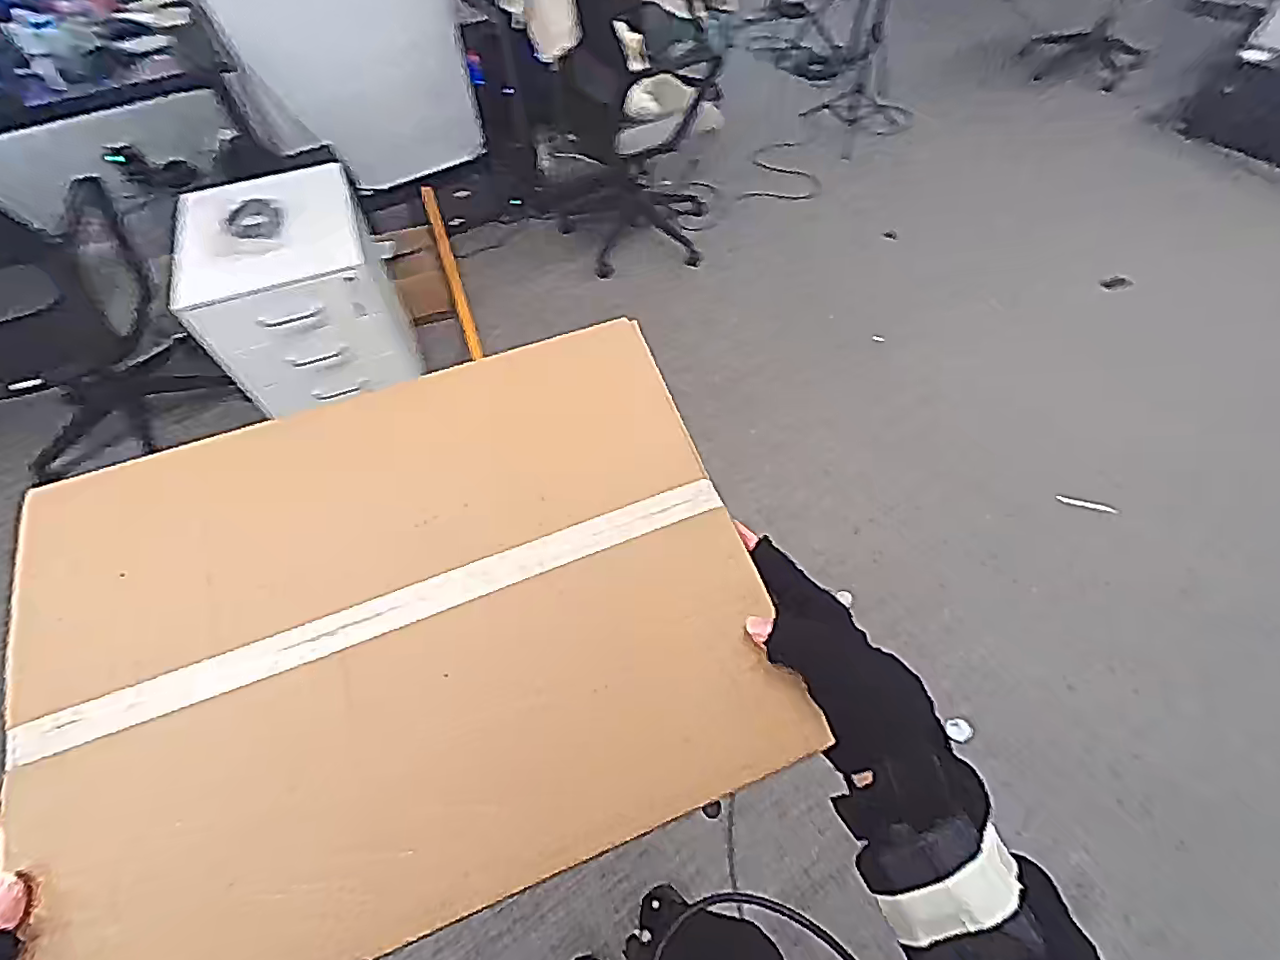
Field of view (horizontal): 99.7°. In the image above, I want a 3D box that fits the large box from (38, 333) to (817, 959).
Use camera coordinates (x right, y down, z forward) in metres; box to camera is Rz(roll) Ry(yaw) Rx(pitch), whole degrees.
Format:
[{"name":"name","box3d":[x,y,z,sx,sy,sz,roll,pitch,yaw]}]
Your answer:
[{"name":"large box","box3d":[-0.137,0.139,0.462,0.408,0.320,0.320,-19,68,-9]}]
